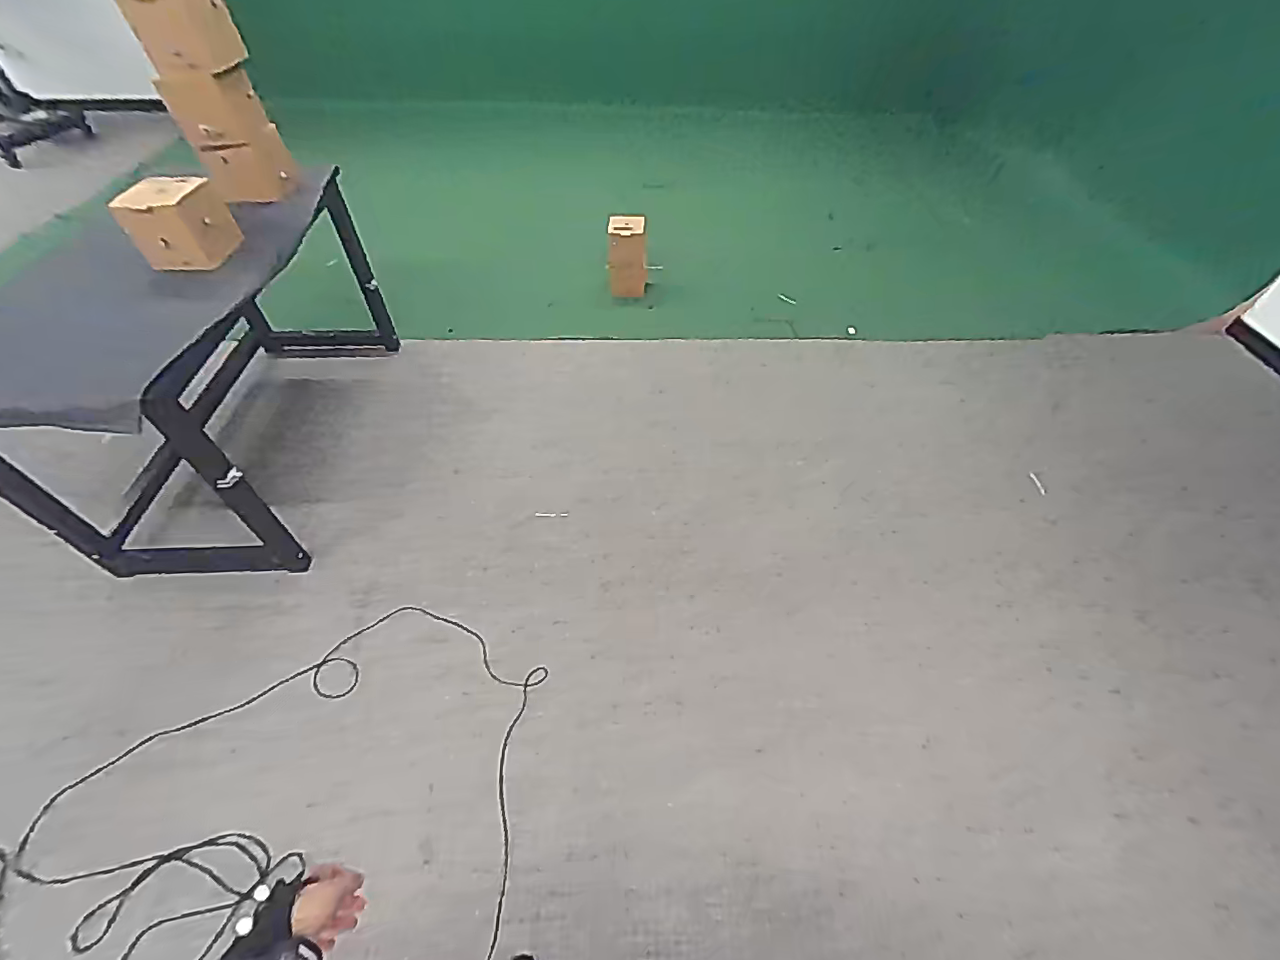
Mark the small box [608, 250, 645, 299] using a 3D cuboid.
[{"bbox_3d":[-0.066,-1.026,2.707,0.179,0.176,0.168,2,50,1],"label":"small box"}]

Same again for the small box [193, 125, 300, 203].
[{"bbox_3d":[-1.210,-0.980,1.680,0.179,0.176,0.168,3,51,3],"label":"small box"}]

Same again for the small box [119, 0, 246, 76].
[{"bbox_3d":[-1.196,-1.191,1.430,0.168,0.176,0.179,-1,50,3],"label":"small box"}]

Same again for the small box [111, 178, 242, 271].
[{"bbox_3d":[-1.201,-0.668,1.421,0.168,0.176,0.179,0,51,0],"label":"small box"}]

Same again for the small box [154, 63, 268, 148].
[{"bbox_3d":[-1.213,-1.075,1.548,0.168,0.176,0.179,-5,52,-1],"label":"small box"}]
